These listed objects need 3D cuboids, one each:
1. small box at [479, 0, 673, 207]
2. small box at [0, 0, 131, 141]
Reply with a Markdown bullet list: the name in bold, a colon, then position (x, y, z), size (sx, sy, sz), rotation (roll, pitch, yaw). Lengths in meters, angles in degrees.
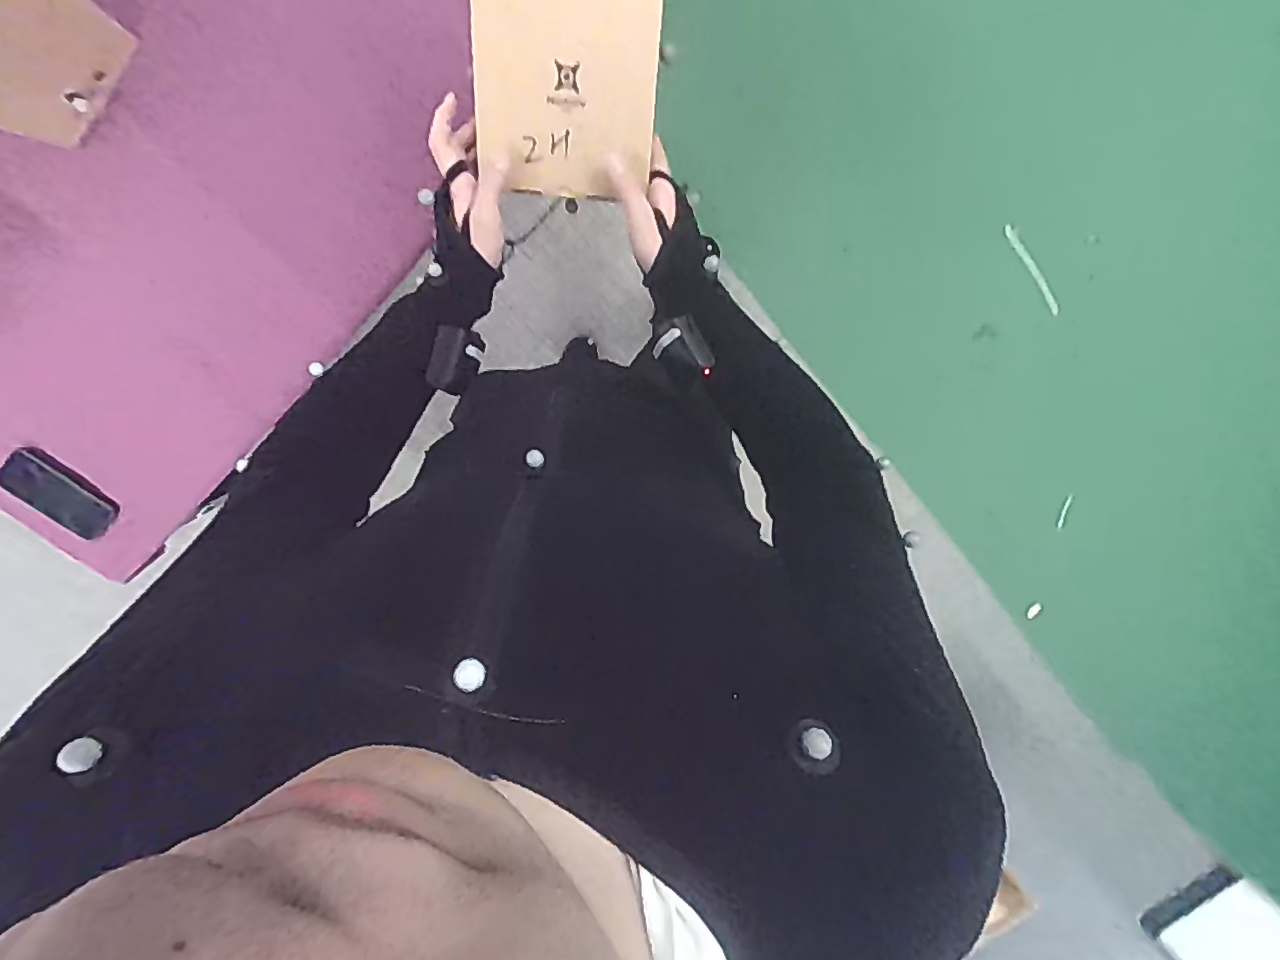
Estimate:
- **small box**: position (-0.064, -0.387, 0.554), size (0.168, 0.176, 0.179), rotation (5, 117, -4)
- **small box**: position (-0.727, -0.507, 0.576), size (0.179, 0.176, 0.168), rotation (40, 100, -16)
